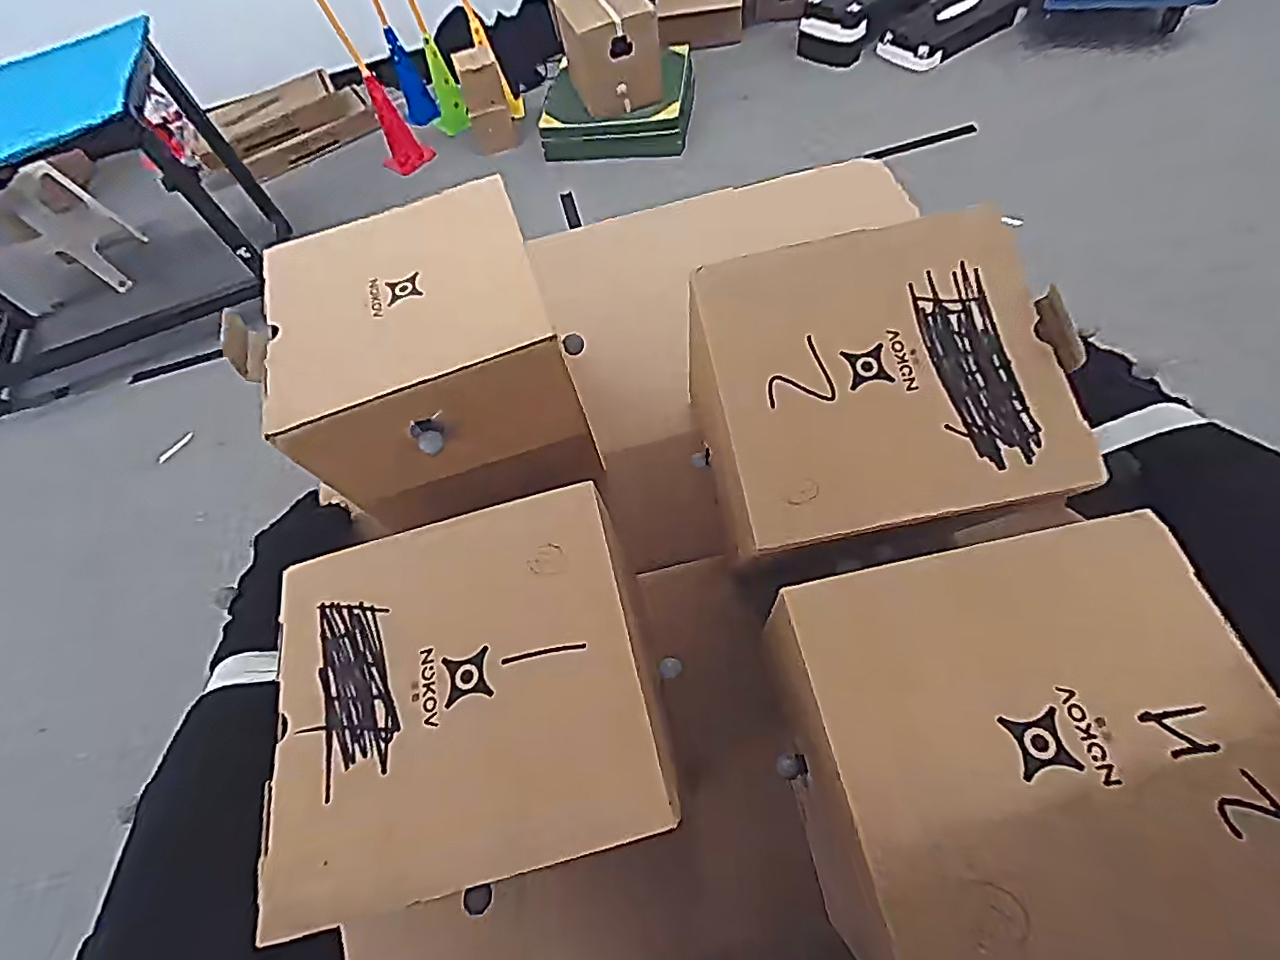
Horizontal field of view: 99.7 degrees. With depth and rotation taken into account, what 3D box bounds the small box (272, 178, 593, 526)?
[{"bbox_3d":[-0.145,-0.087,0.423,0.179,0.176,0.168,-21,62,-2],"label":"small box"}]
